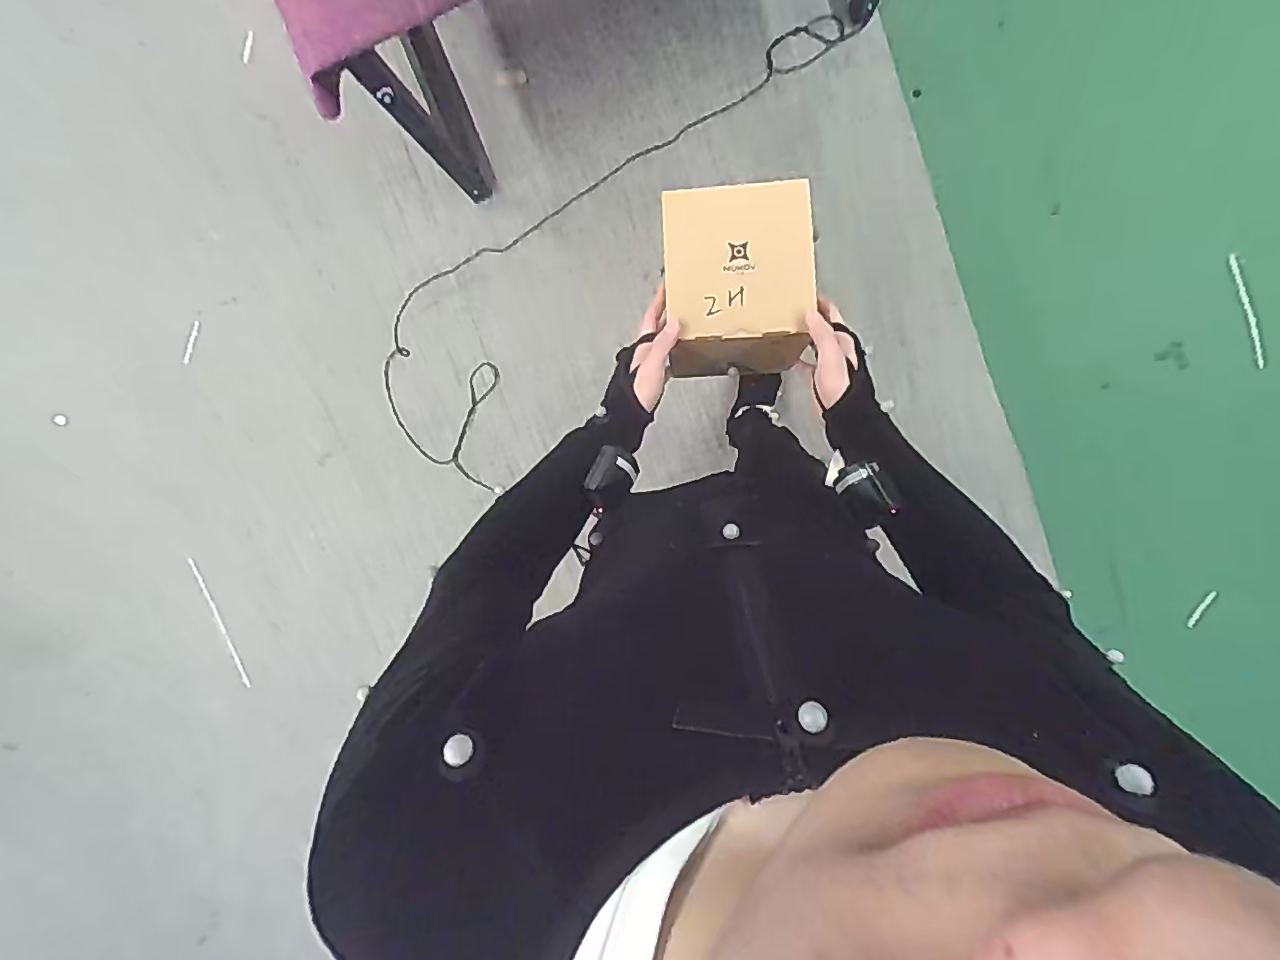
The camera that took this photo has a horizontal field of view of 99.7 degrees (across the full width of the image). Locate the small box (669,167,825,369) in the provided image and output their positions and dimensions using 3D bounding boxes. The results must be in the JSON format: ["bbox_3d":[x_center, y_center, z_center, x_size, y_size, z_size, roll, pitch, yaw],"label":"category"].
[{"bbox_3d":[0.121,-0.248,0.669,0.168,0.176,0.179,-3,86,5],"label":"small box"}]
